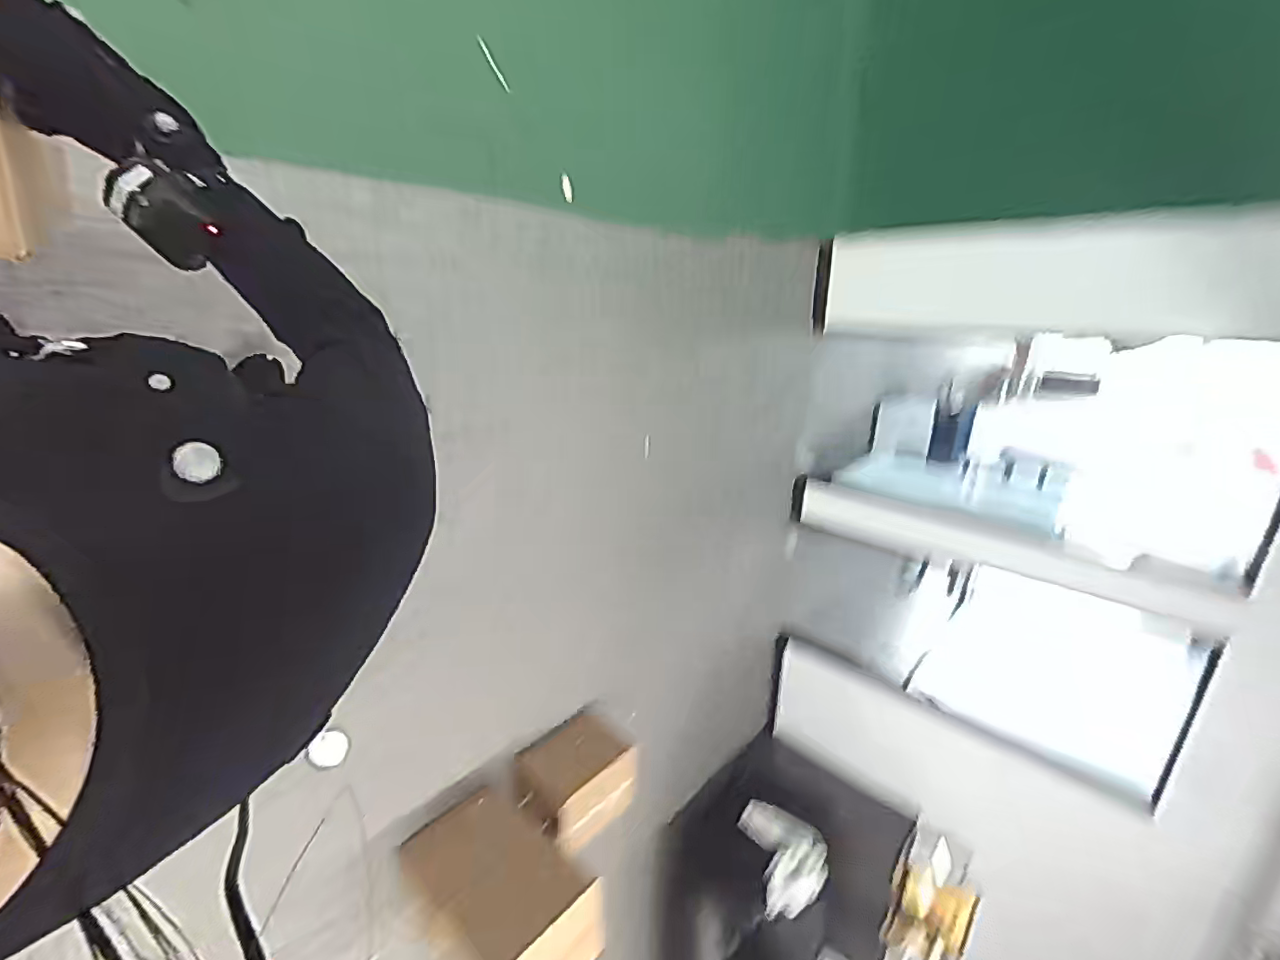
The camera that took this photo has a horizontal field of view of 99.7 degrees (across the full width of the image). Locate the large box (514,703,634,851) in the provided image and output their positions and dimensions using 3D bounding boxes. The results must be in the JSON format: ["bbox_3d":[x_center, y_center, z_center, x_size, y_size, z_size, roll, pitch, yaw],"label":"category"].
[{"bbox_3d":[-0.277,1.240,2.303,0.408,0.320,0.320,-18,117,-45],"label":"large box"}]
